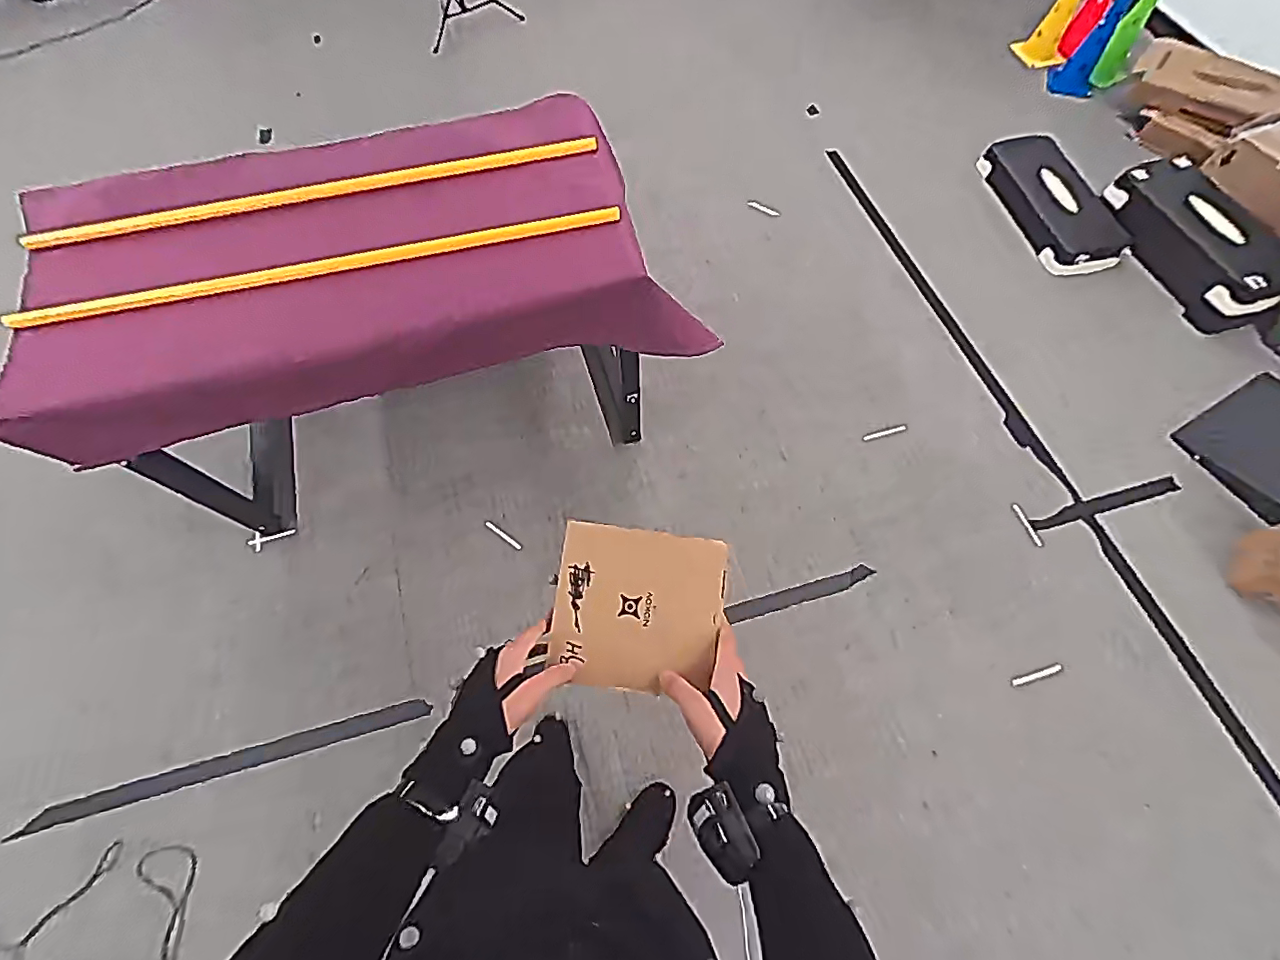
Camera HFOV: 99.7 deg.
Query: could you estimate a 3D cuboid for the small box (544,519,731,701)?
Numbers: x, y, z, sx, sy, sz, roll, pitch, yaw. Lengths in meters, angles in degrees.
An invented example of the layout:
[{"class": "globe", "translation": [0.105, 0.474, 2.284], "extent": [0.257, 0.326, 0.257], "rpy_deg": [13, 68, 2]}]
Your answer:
[{"class": "small box", "translation": [-0.004, 0.146, 0.636], "extent": [0.179, 0.176, 0.168], "rpy_deg": [8, 79, -1]}]
